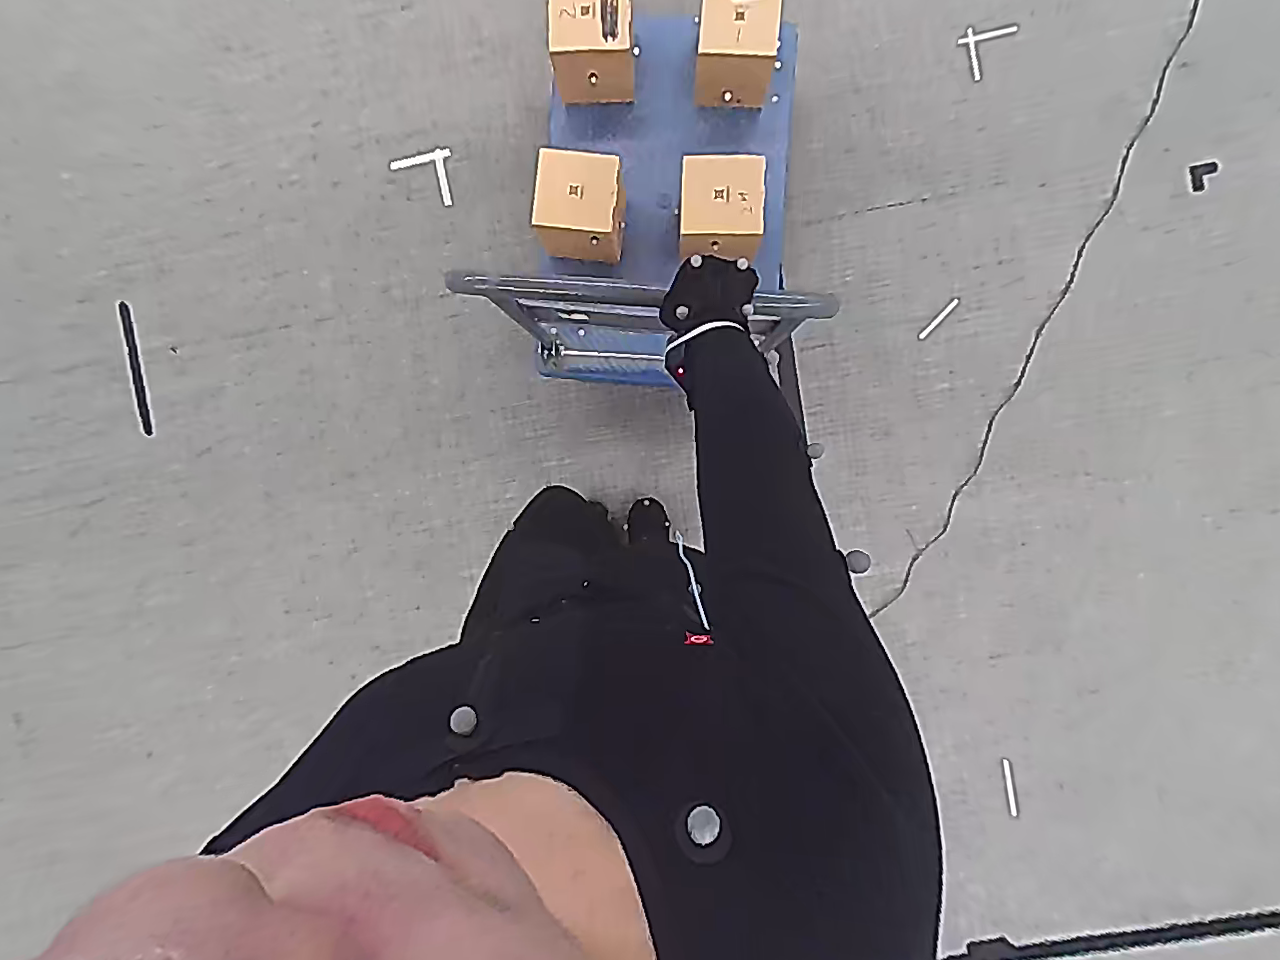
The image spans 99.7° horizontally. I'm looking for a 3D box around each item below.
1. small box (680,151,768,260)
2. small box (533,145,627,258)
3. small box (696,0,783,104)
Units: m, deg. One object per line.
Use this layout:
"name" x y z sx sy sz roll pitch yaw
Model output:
"small box" 0.180 -0.602 1.203 0.179 0.176 0.168 2 92 3
"small box" -0.128 -0.619 1.220 0.179 0.176 0.168 6 91 1
"small box" 0.215 -0.977 1.193 0.168 0.176 0.179 5 93 3
